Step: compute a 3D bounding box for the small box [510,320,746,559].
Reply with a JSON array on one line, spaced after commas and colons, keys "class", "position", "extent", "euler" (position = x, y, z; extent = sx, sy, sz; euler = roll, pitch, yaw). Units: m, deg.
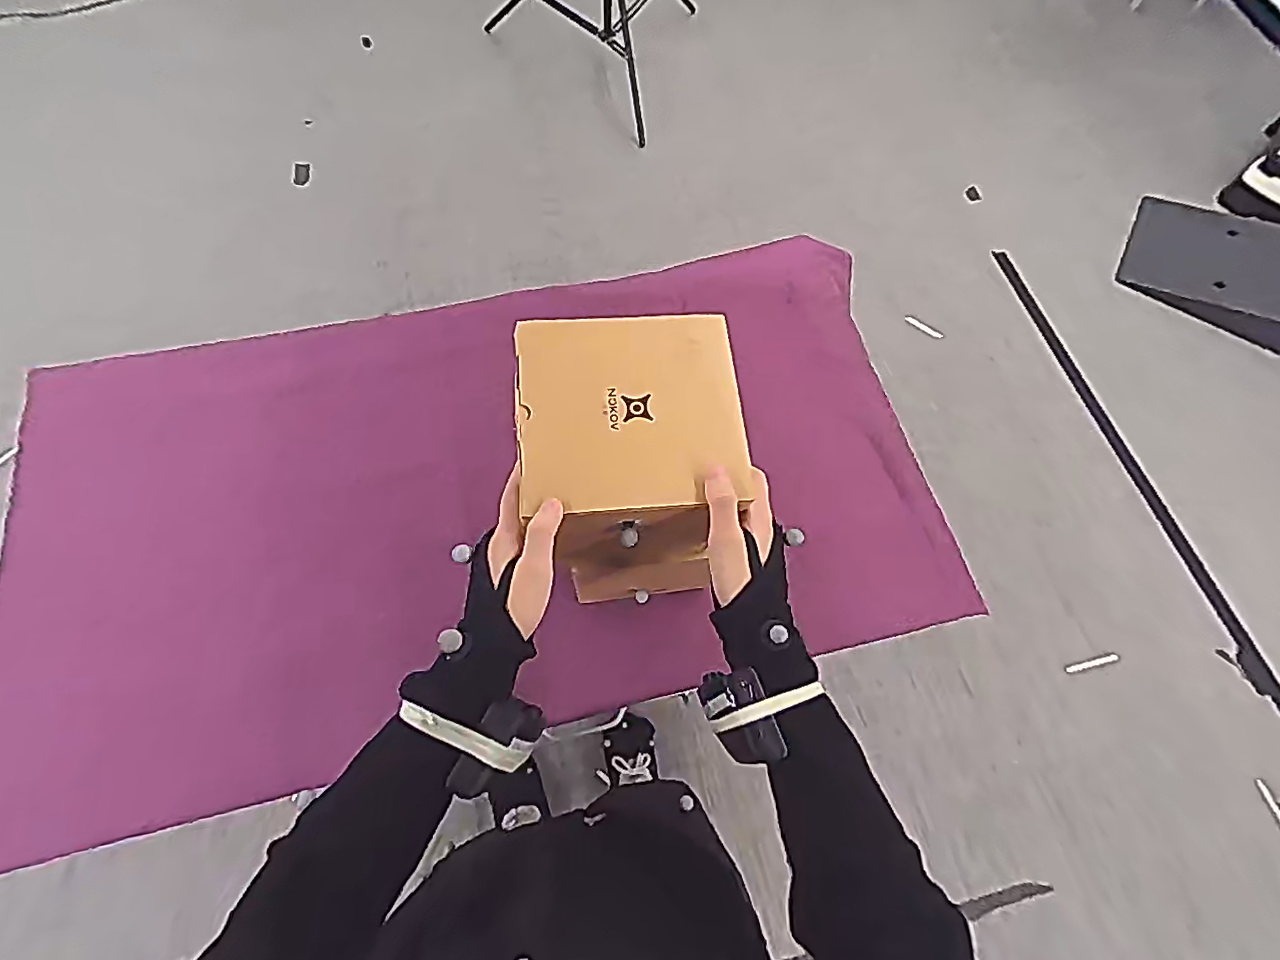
[{"class": "small box", "position": [-0.019, -0.027, 0.495], "extent": [0.179, 0.176, 0.168], "euler": [-4, 71, -5]}]

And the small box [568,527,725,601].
[{"class": "small box", "position": [-0.006, 0.039, 0.659], "extent": [0.168, 0.176, 0.179], "euler": [-6, 69, -5]}]
